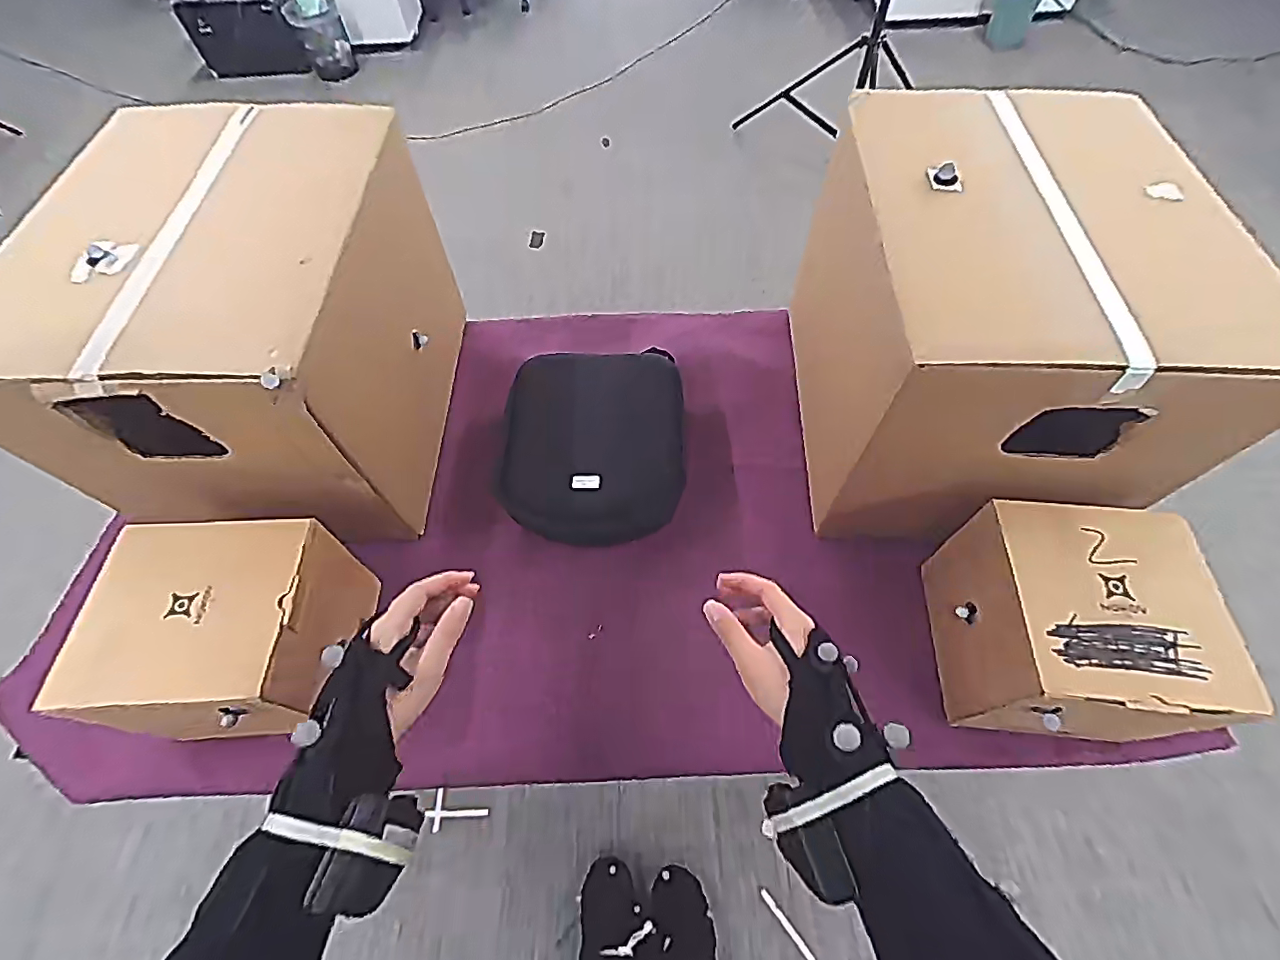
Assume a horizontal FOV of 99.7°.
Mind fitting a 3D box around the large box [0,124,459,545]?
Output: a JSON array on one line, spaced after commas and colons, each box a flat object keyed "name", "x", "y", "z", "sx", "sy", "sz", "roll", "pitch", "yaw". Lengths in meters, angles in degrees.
[{"name": "large box", "x": -0.431, "y": -0.160, "z": 0.658, "sx": 0.320, "sy": 0.320, "sz": 0.408, "roll": -2, "pitch": 61, "yaw": -1}]

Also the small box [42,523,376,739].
[{"name": "small box", "x": -0.399, "y": 0.157, "z": 0.545, "sx": 0.179, "sy": 0.176, "sz": 0.168, "roll": -2, "pitch": 58, "yaw": -4}]
